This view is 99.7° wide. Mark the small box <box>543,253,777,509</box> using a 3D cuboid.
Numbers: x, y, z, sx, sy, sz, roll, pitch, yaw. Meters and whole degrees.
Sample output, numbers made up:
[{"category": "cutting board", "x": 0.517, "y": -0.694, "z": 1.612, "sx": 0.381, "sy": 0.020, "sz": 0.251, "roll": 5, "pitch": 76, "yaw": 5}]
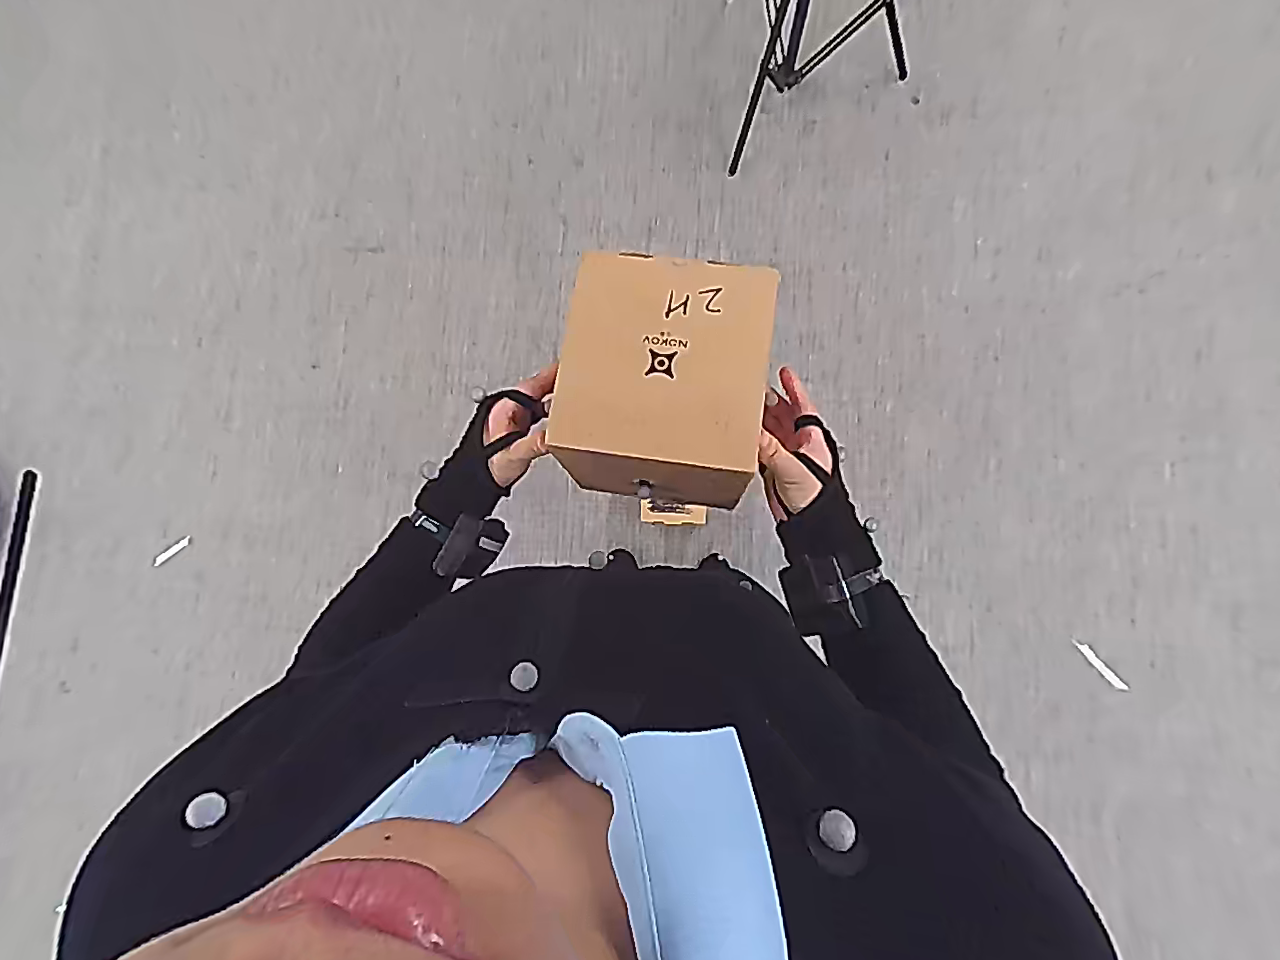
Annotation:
[{"category": "small box", "x": 0.024, "y": -0.078, "z": 0.504, "sx": 0.168, "sy": 0.176, "sz": 0.179, "roll": 8, "pitch": 77, "yaw": 5}]
